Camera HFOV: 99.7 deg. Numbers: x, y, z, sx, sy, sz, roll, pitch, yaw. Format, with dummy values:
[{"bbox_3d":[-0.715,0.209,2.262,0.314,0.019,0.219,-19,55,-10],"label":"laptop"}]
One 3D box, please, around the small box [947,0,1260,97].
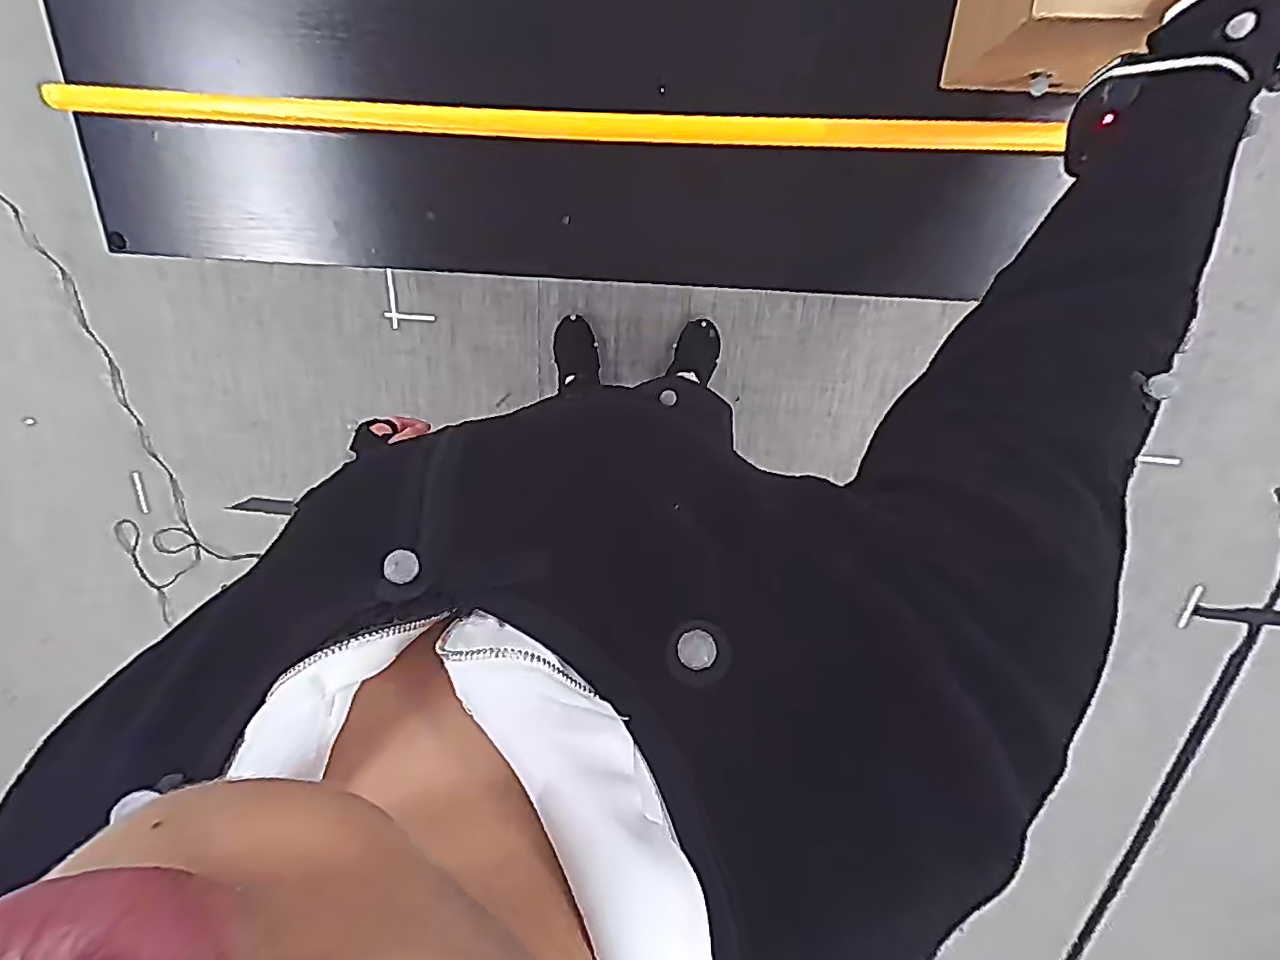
[{"bbox_3d":[0.395,-0.459,0.460,0.168,0.176,0.179,6,111,4],"label":"small box"}]
